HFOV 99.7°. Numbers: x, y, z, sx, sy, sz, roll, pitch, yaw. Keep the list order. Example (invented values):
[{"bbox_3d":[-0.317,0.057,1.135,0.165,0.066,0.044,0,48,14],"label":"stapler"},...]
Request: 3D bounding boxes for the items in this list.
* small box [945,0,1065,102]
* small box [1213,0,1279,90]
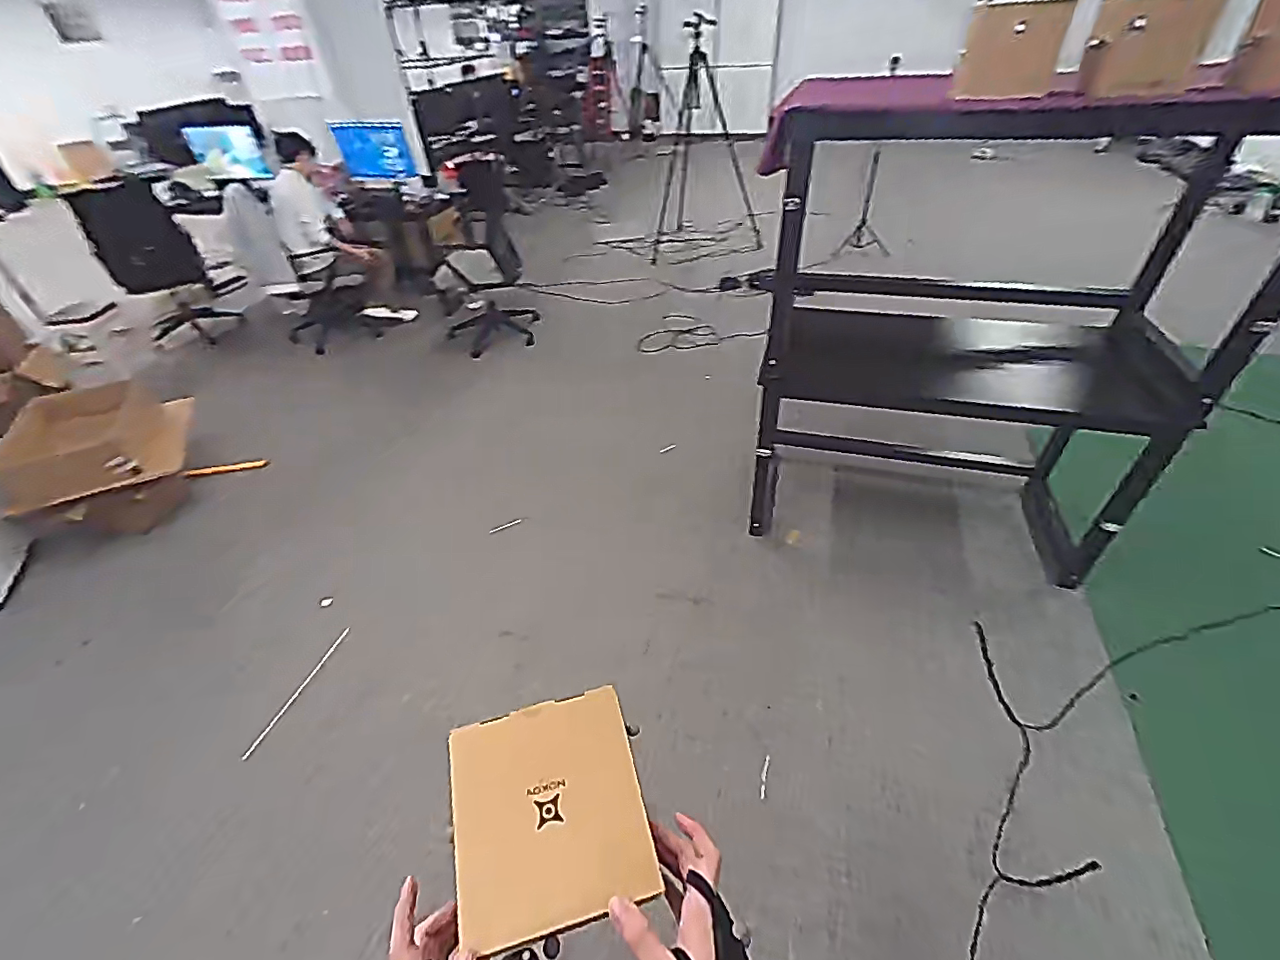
[{"bbox_3d":[0.792,-0.947,1.197,0.179,0.176,0.168,11,42,17],"label":"small box"},{"bbox_3d":[1.297,-0.881,1.064,0.179,0.176,0.168,10,44,18],"label":"small box"}]
